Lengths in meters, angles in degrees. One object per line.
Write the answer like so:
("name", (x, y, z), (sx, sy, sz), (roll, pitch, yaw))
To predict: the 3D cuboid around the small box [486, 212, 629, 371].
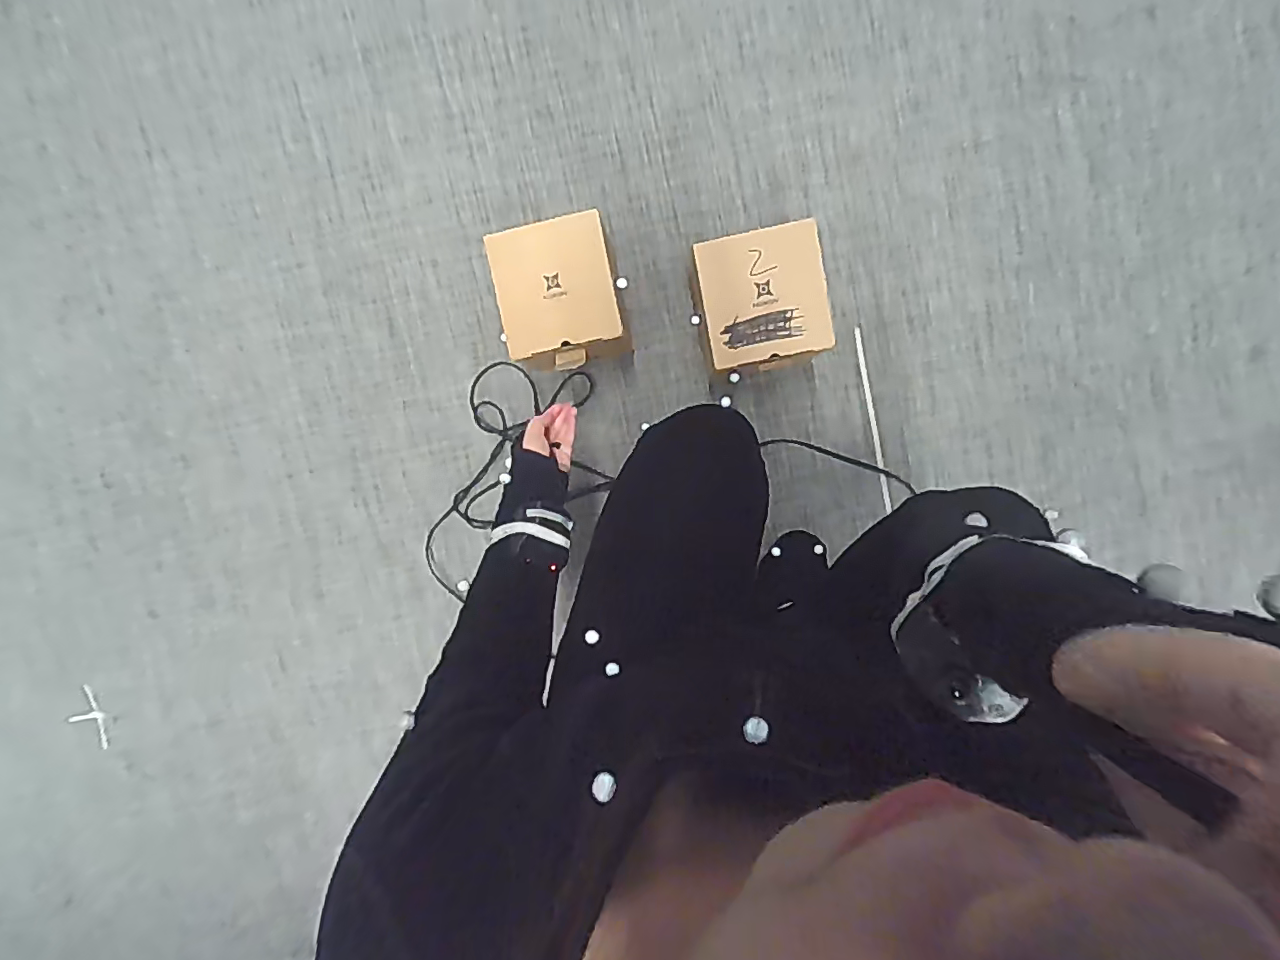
("small box", (-0.117, -0.277, 0.832), (0.168, 0.176, 0.179), (-11, 95, 5))
